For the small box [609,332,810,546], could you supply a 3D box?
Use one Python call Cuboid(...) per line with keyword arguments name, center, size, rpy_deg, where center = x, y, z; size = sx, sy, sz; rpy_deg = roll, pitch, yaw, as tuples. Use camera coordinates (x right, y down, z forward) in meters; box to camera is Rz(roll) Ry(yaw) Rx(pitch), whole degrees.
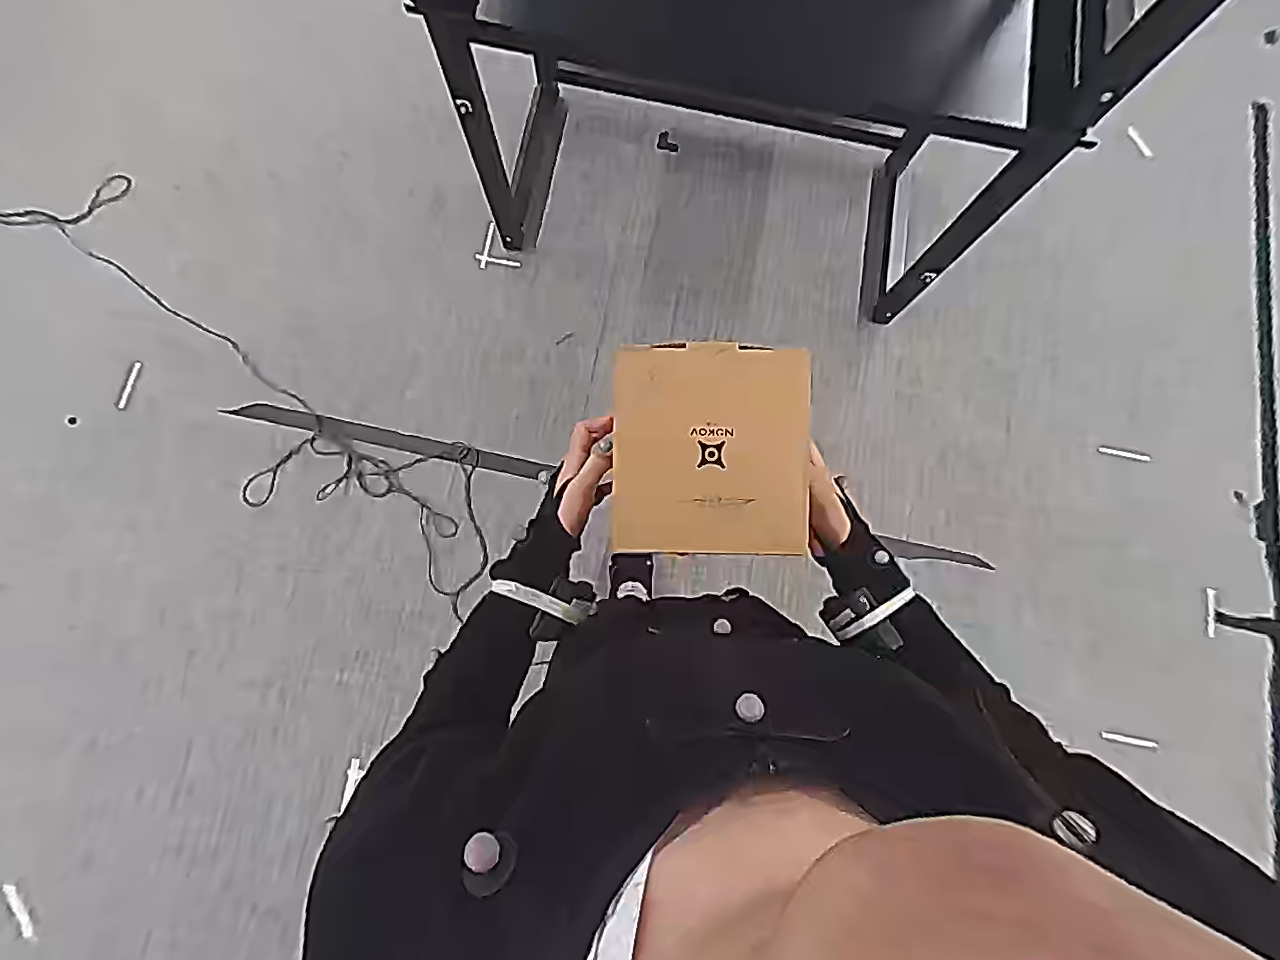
Cuboid(name="small box", center=(0.057, -0.034, 0.525), size=(0.168, 0.176, 0.179), rpy_deg=(1, 90, 0))
